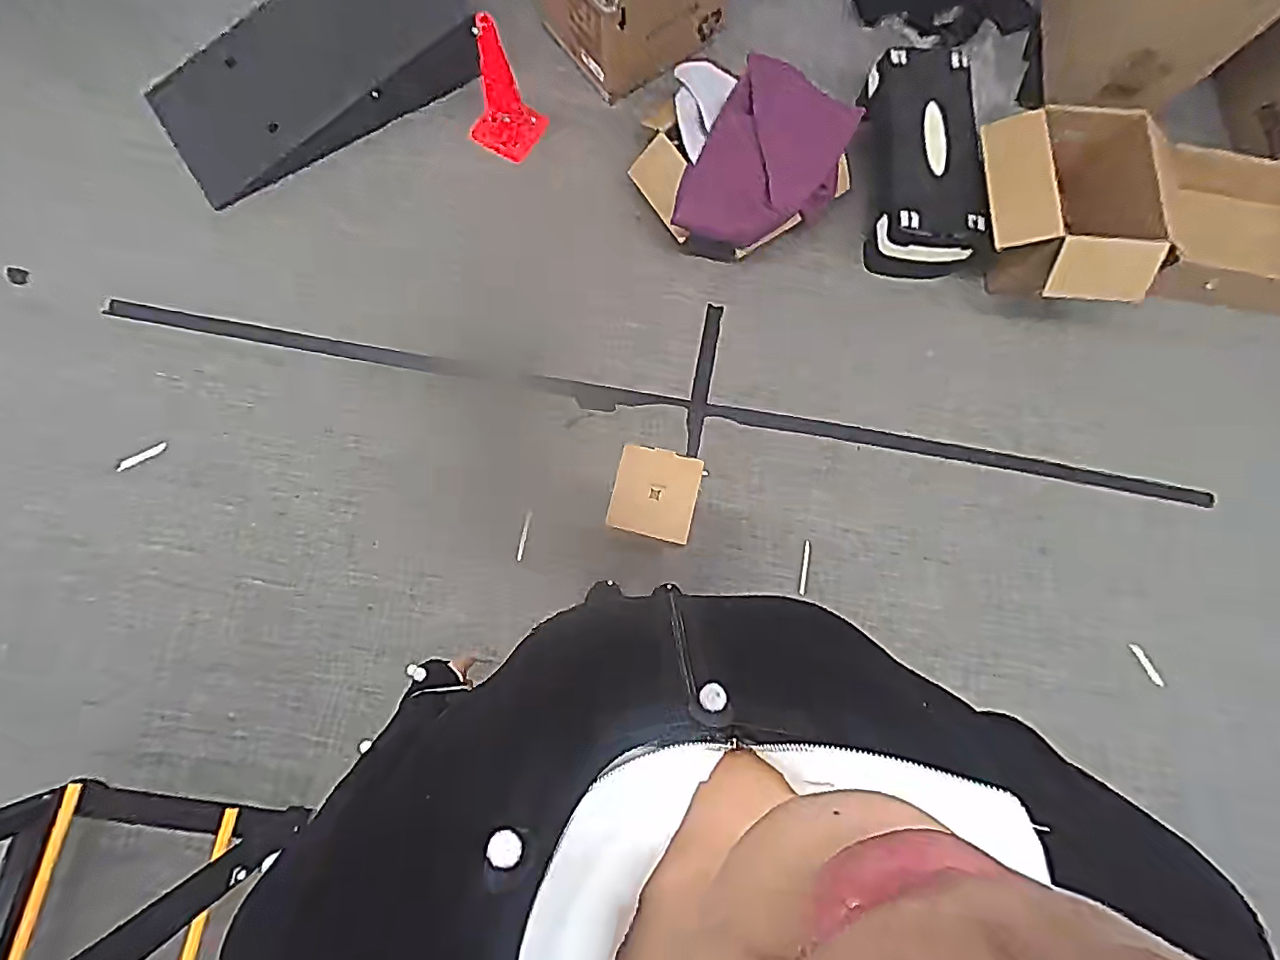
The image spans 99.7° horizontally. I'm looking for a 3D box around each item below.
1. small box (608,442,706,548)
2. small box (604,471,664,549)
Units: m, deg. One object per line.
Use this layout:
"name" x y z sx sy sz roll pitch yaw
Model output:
"small box" 0.031 0.039 1.142 0.168 0.176 0.179 14 80 0
"small box" 0.008 0.088 1.465 0.179 0.176 0.168 14 79 -1
